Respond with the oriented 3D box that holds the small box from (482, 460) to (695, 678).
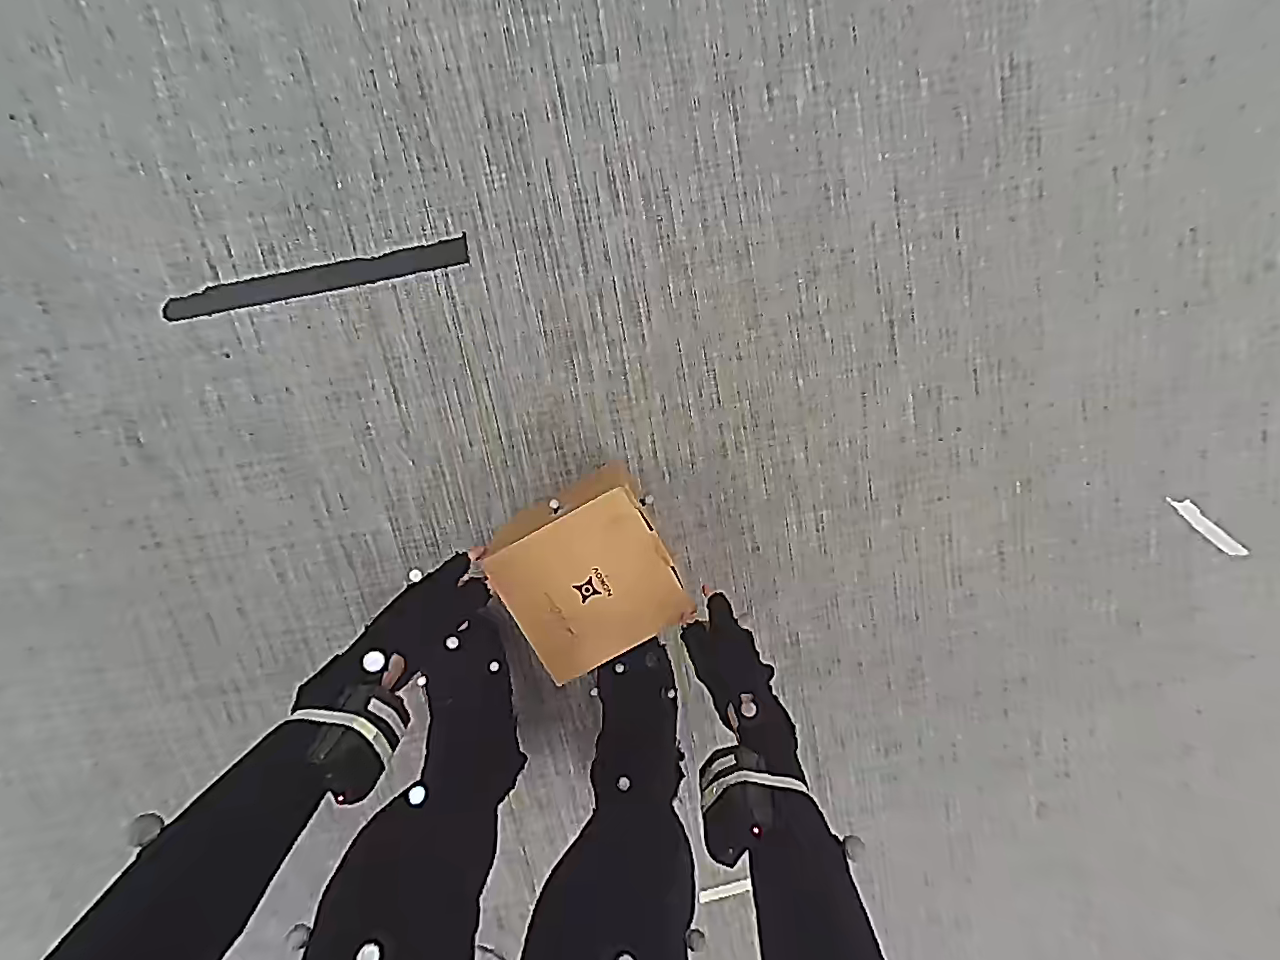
[{"bbox_3d":[-0.058,0.091,0.646,0.179,0.176,0.168,-29,100,2],"label":"small box"}]
